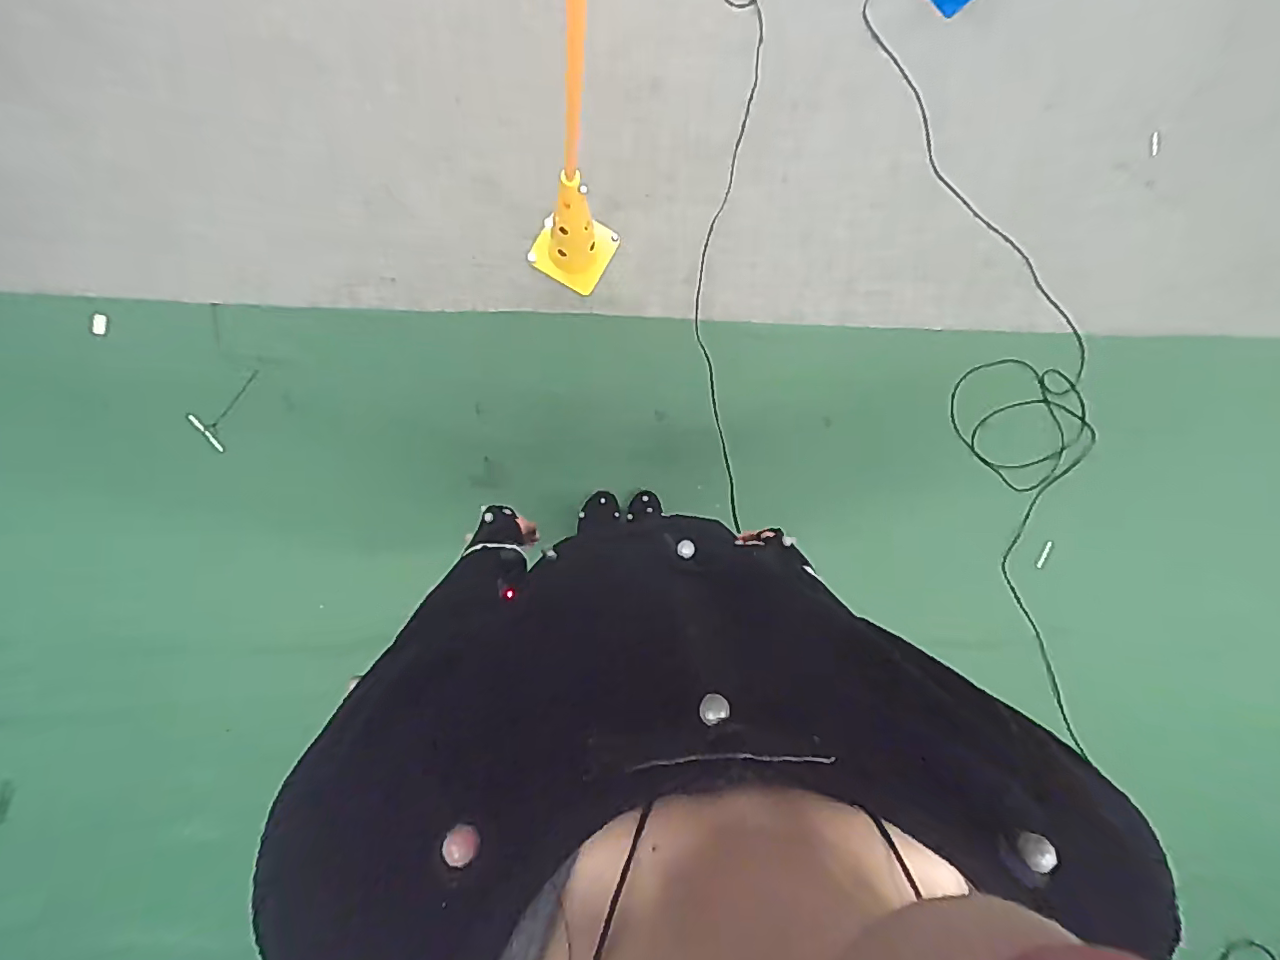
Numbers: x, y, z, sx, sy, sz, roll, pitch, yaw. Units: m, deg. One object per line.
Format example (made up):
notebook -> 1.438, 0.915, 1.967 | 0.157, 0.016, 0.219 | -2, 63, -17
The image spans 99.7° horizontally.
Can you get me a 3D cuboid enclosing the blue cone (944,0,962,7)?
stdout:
blue cone -> 0.955, -1.547, 1.459 | 0.192, 0.380, 0.193 | 45, 83, -3
